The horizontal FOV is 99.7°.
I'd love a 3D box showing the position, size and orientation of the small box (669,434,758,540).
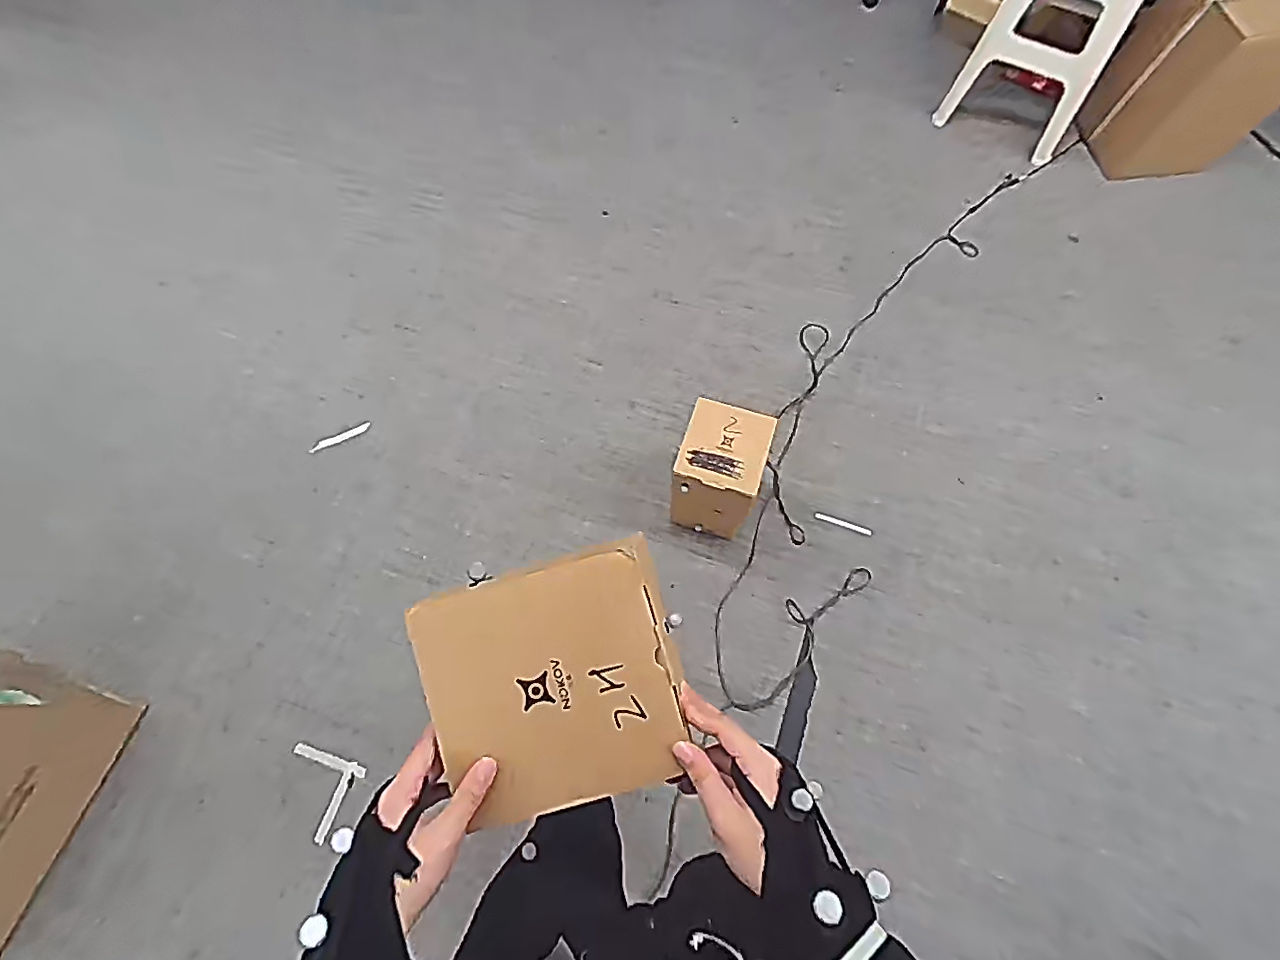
[{"bbox_3d":[0.167,0.022,1.278,0.168,0.176,0.179,17,71,8],"label":"small box"}]
